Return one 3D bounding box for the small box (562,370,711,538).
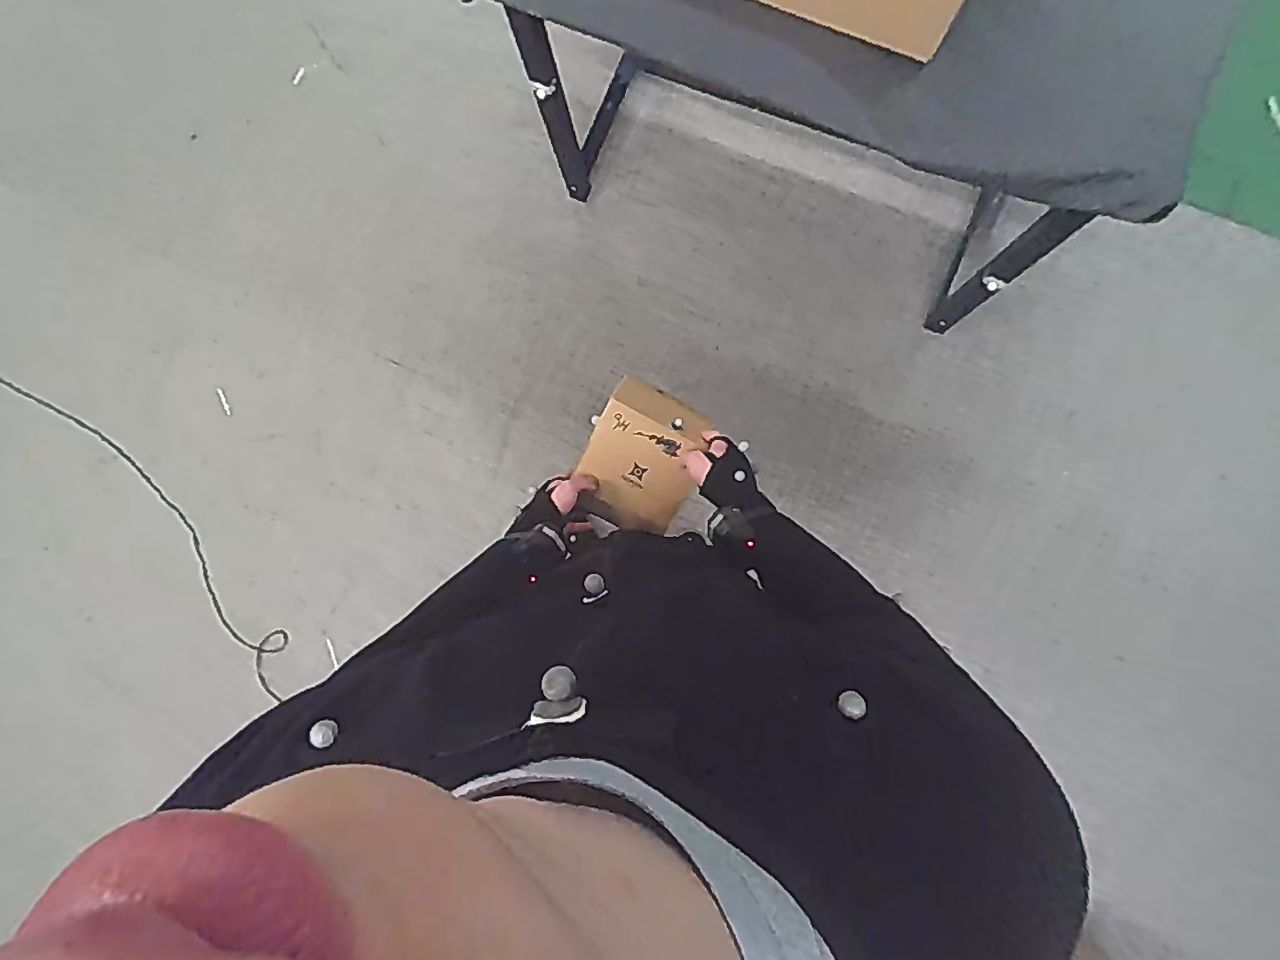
[{"bbox_3d":[0.004,-0.047,0.851,0.168,0.176,0.179,29,115,-4],"label":"small box"}]
